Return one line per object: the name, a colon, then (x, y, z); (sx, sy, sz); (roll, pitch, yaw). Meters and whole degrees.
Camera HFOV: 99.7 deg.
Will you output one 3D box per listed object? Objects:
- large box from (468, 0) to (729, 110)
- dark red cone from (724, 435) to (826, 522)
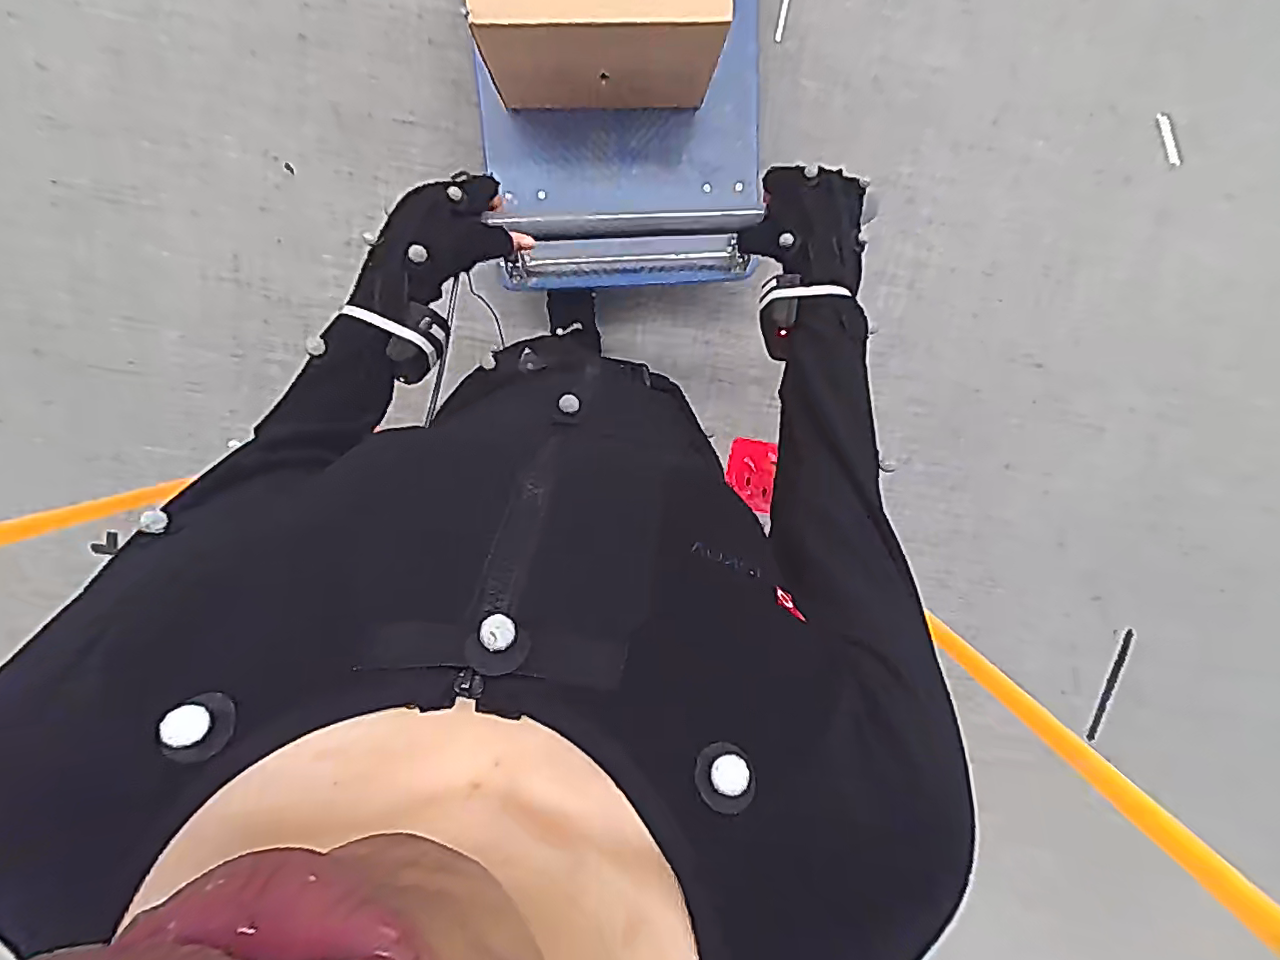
large box: (-0.070, -0.876, 0.935); (0.408, 0.320, 0.320); (-2, 104, -2)
dark red cone: (0.348, 0.026, 1.297); (0.201, 0.394, 0.202); (9, 103, -7)
